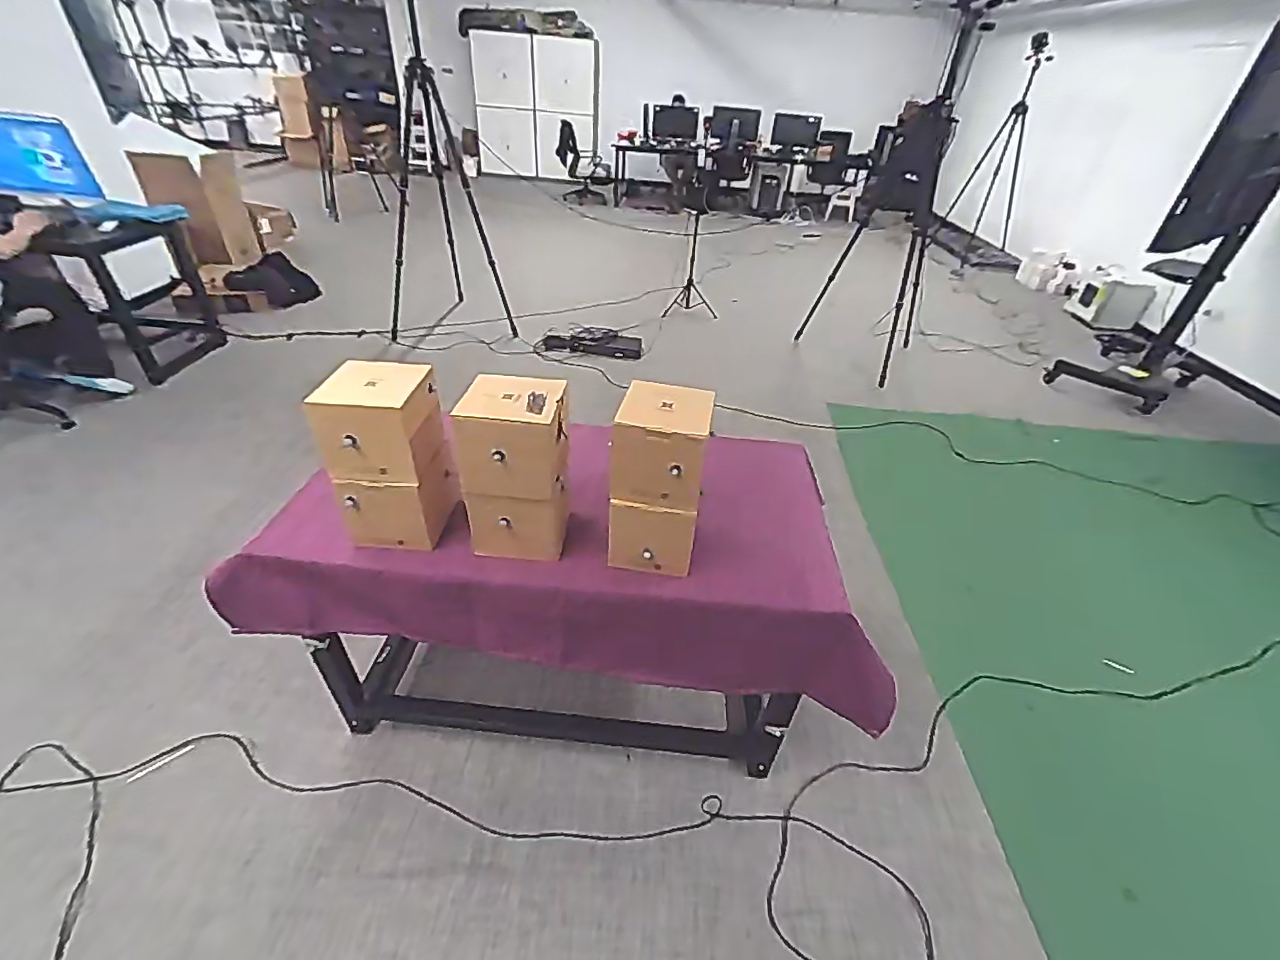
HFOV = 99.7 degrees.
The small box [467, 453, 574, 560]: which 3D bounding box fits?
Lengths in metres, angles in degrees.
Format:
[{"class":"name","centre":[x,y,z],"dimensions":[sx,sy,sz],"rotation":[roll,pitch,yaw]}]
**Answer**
[{"class":"small box","centre":[-0.237,0.049,1.122],"dimensions":[0.179,0.176,0.168],"rotation":[4,37,2]}]

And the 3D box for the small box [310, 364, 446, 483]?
[{"class":"small box","centre":[-0.487,-0.108,1.039],"dimensions":[0.168,0.176,0.179],"rotation":[3,35,-1]}]

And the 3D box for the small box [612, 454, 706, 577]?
[{"class":"small box","centre":[0.038,0.071,1.113],"dimensions":[0.168,0.176,0.179],"rotation":[8,36,7]}]

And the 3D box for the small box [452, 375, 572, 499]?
[{"class":"small box","centre":[-0.228,-0.080,1.020],"dimensions":[0.179,0.176,0.168],"rotation":[5,36,3]}]
